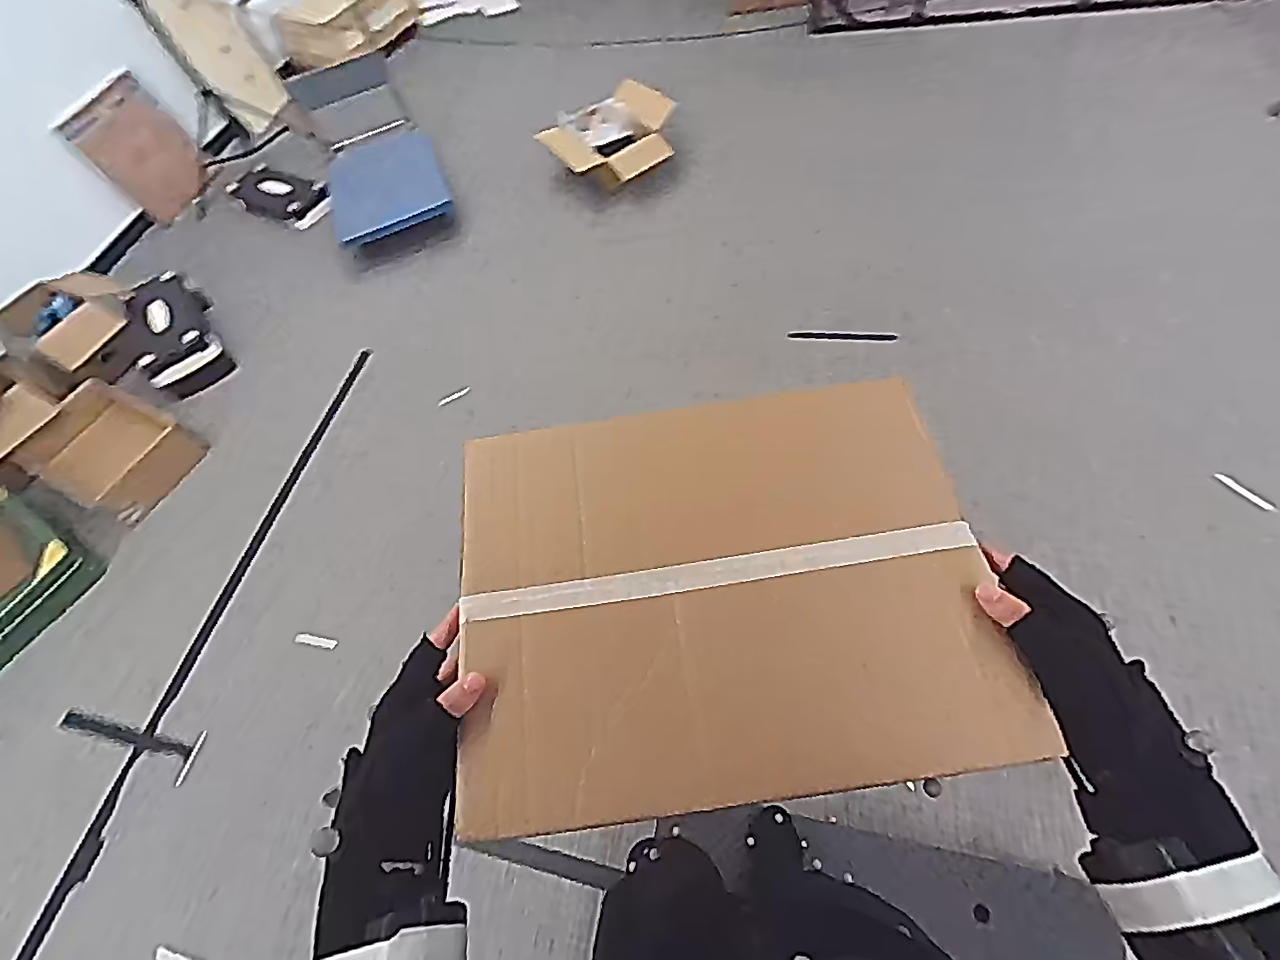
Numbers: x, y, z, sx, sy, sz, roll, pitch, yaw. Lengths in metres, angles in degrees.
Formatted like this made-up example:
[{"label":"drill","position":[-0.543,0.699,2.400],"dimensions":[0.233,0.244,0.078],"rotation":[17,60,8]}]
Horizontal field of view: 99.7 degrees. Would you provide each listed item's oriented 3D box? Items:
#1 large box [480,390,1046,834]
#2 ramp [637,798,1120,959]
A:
[{"label":"large box","position":[0.080,0.144,0.571],"dimensions":[0.408,0.320,0.320],"rotation":[-8,62,1]},{"label":"ramp","position":[0.497,0.997,1.118],"dimensions":[0.991,0.206,0.509],"rotation":[4,60,12]}]
